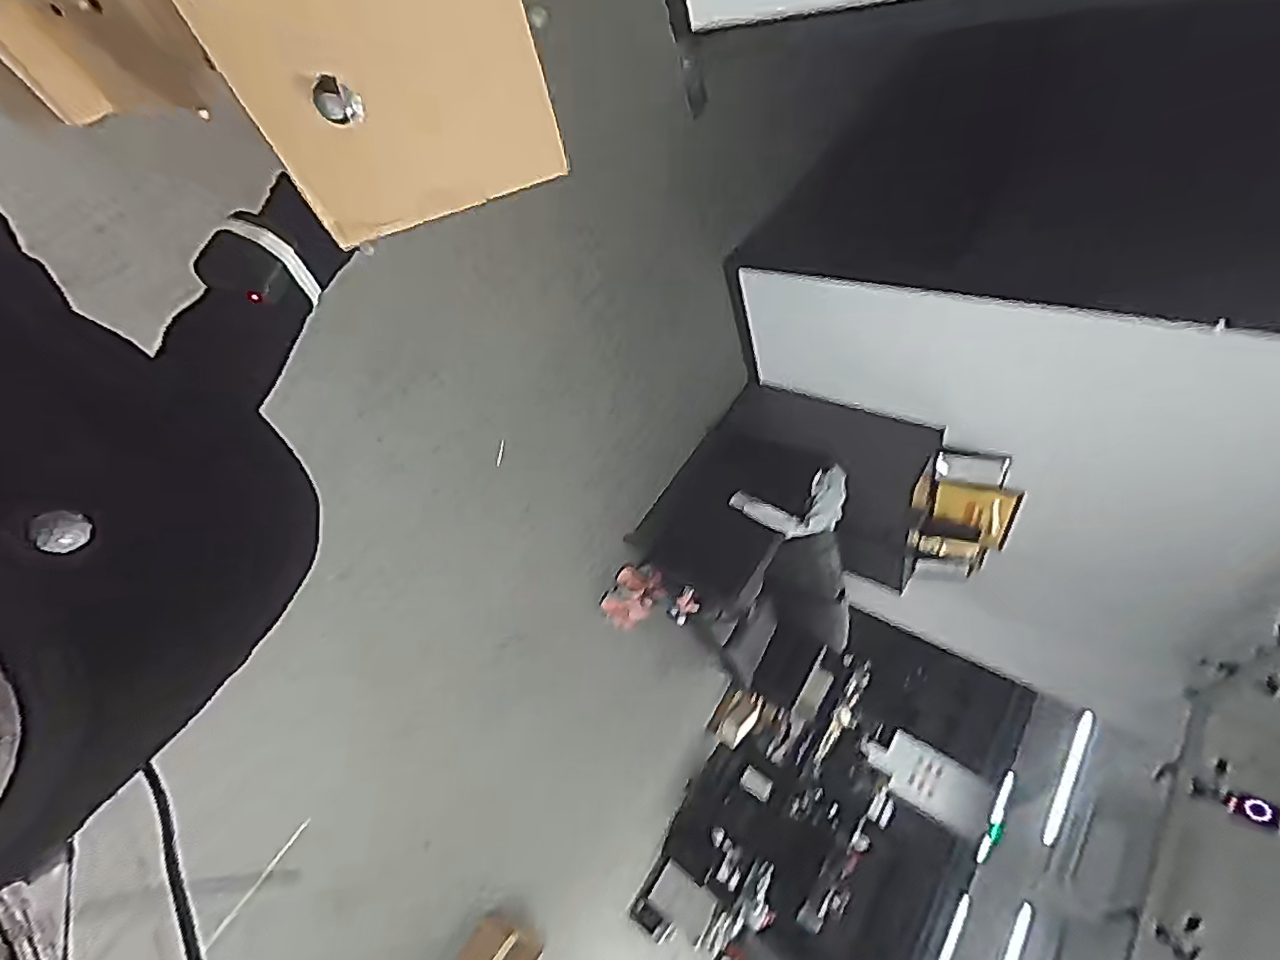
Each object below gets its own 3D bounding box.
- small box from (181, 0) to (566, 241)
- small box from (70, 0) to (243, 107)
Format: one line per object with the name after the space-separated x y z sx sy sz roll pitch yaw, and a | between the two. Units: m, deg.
-0.164 -0.295 0.346 0.168 0.179 0.176 -20 143 -1 | small box
-0.462 -0.506 0.543 0.168 0.176 0.179 -52 142 -21 | small box
